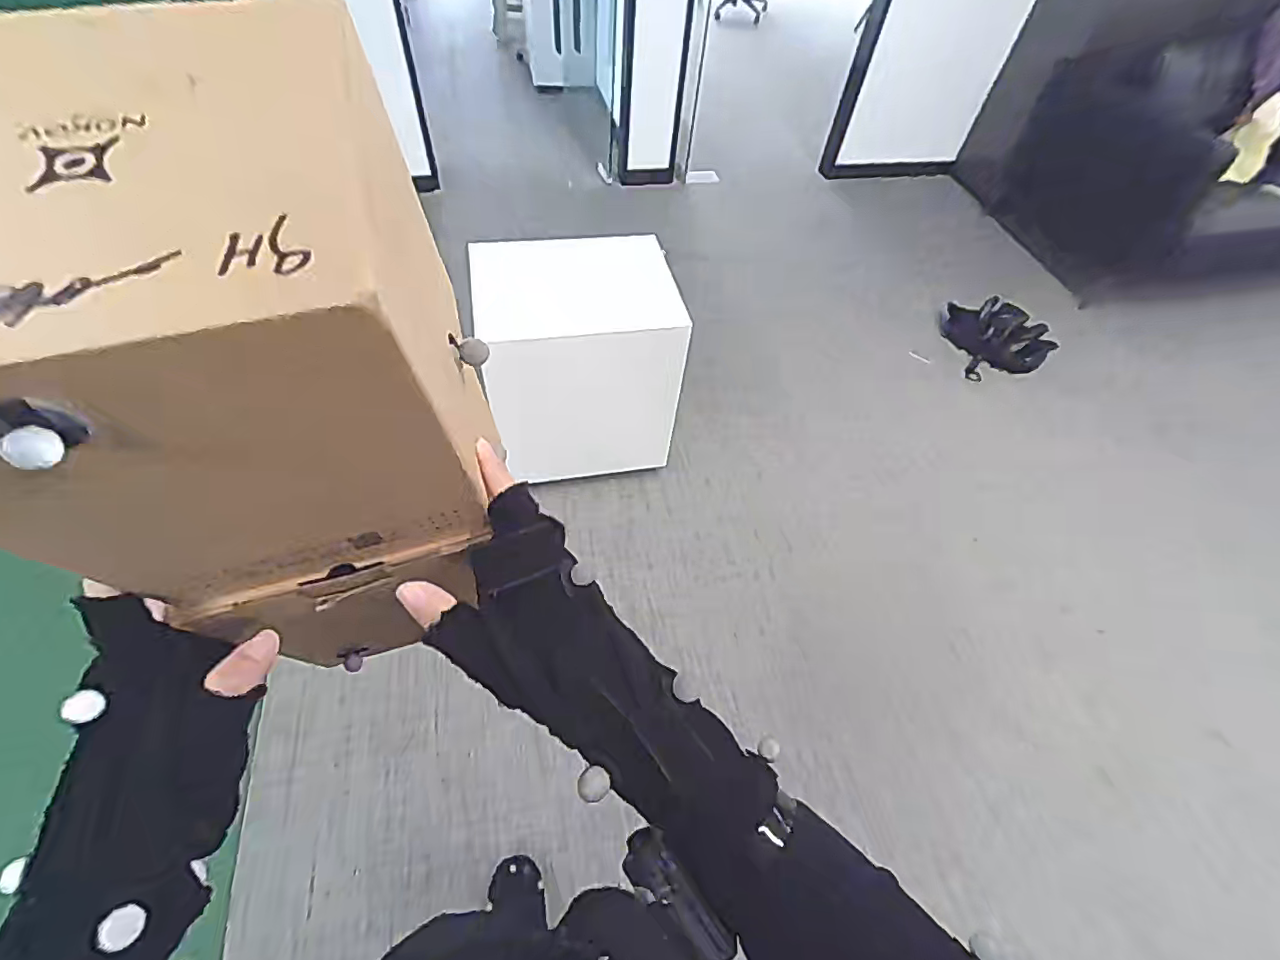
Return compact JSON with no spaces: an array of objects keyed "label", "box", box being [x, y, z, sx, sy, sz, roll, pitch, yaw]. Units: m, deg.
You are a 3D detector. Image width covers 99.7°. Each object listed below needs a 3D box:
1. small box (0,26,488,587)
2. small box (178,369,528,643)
[{"label":"small box","box":[-0.181,-0.070,0.259,0.168,0.176,0.179,-14,64,-8]},{"label":"small box","box":[-0.187,0.010,0.401,0.168,0.176,0.179,-14,63,-9]}]
